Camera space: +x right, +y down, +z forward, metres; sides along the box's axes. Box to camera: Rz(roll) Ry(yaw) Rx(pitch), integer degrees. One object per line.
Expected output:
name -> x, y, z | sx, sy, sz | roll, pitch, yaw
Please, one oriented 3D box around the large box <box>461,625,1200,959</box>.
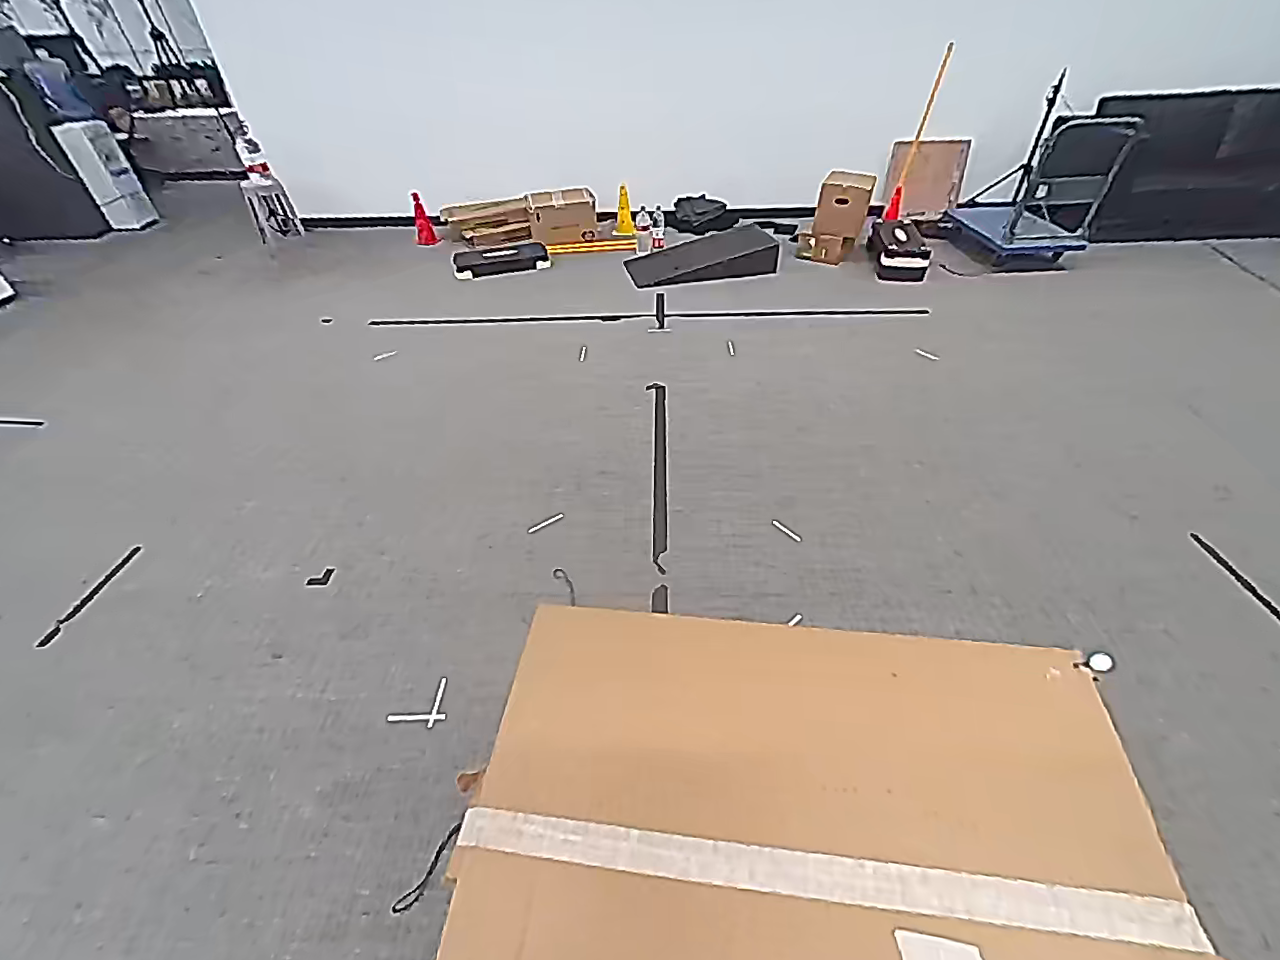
large box -> 0.108, 0.338, 0.427 | 0.408, 0.320, 0.320 | 3, 49, 7
